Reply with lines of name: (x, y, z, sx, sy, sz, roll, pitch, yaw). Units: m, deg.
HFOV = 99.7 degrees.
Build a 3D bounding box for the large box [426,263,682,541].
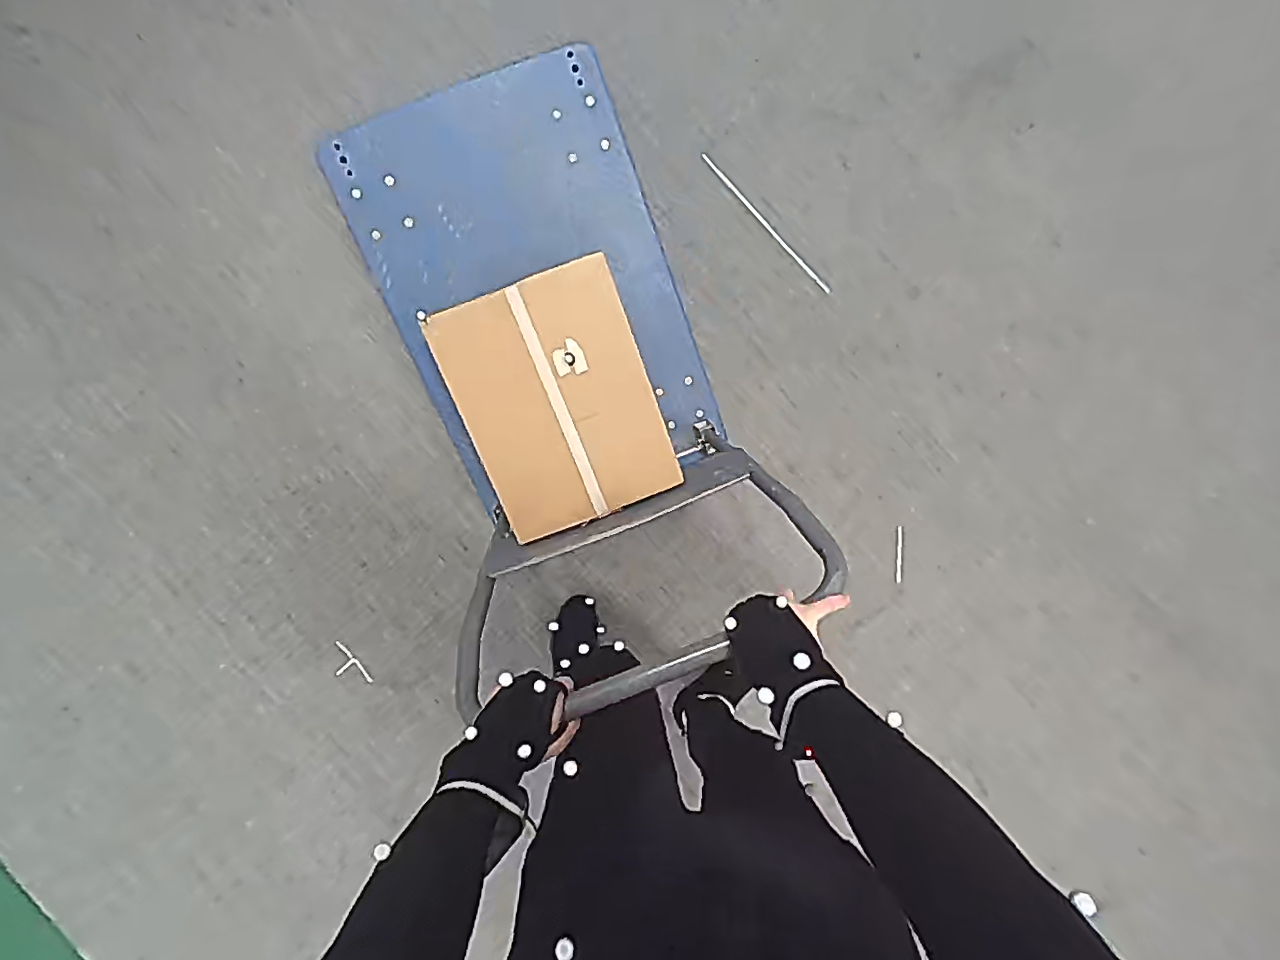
large box: (-0.147, -0.153, 1.069, 0.320, 0.320, 0.408, -22, 103, -1)
